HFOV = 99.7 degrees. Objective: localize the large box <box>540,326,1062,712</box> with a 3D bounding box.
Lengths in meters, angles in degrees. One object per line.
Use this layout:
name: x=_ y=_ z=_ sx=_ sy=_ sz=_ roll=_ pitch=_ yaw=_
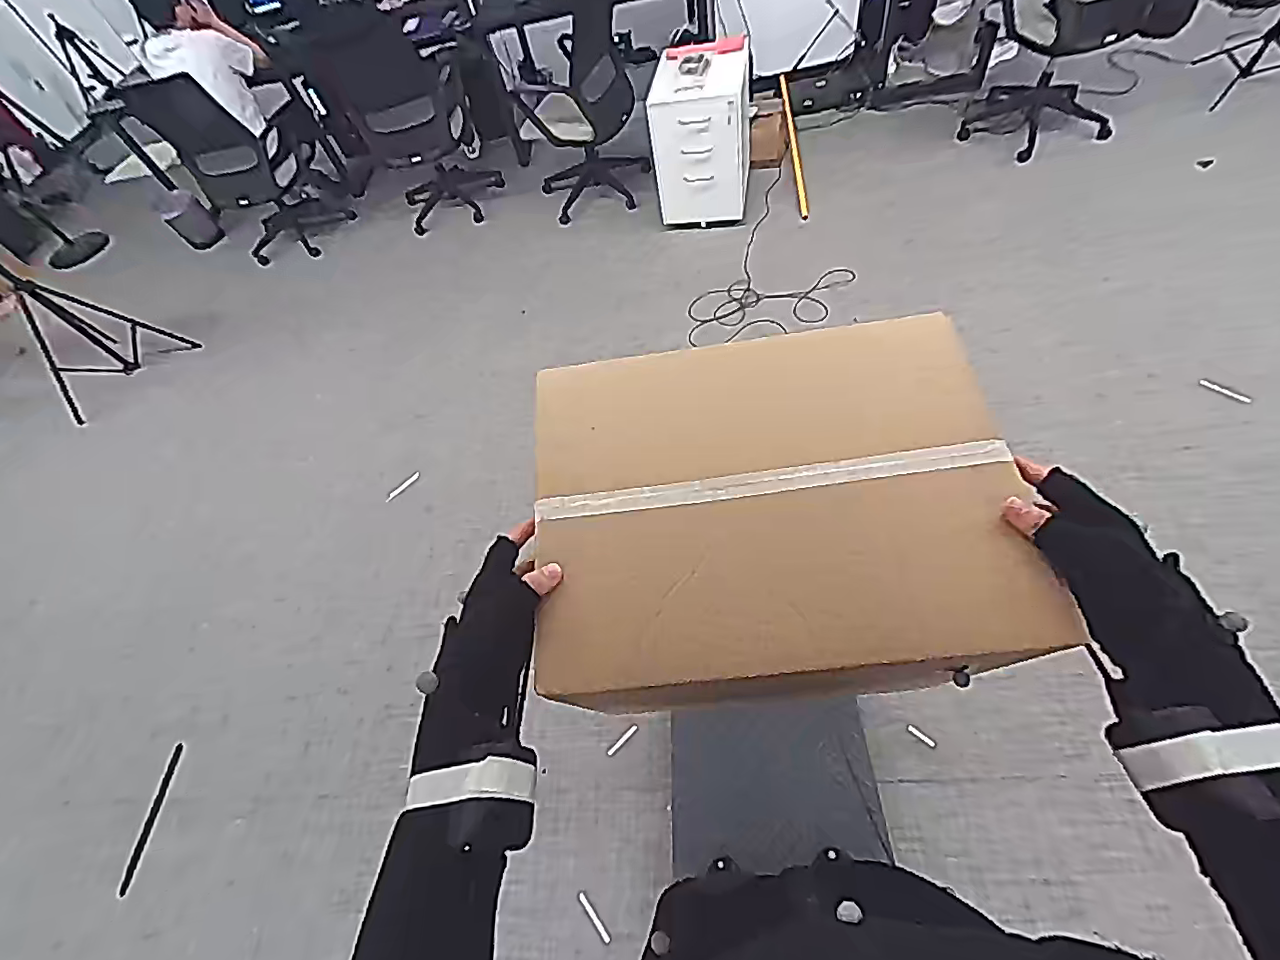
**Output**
large box: x=0.126 y=0.074 z=0.610 sx=0.408 sy=0.320 sz=0.320 roll=-7 pitch=63 yaw=4
